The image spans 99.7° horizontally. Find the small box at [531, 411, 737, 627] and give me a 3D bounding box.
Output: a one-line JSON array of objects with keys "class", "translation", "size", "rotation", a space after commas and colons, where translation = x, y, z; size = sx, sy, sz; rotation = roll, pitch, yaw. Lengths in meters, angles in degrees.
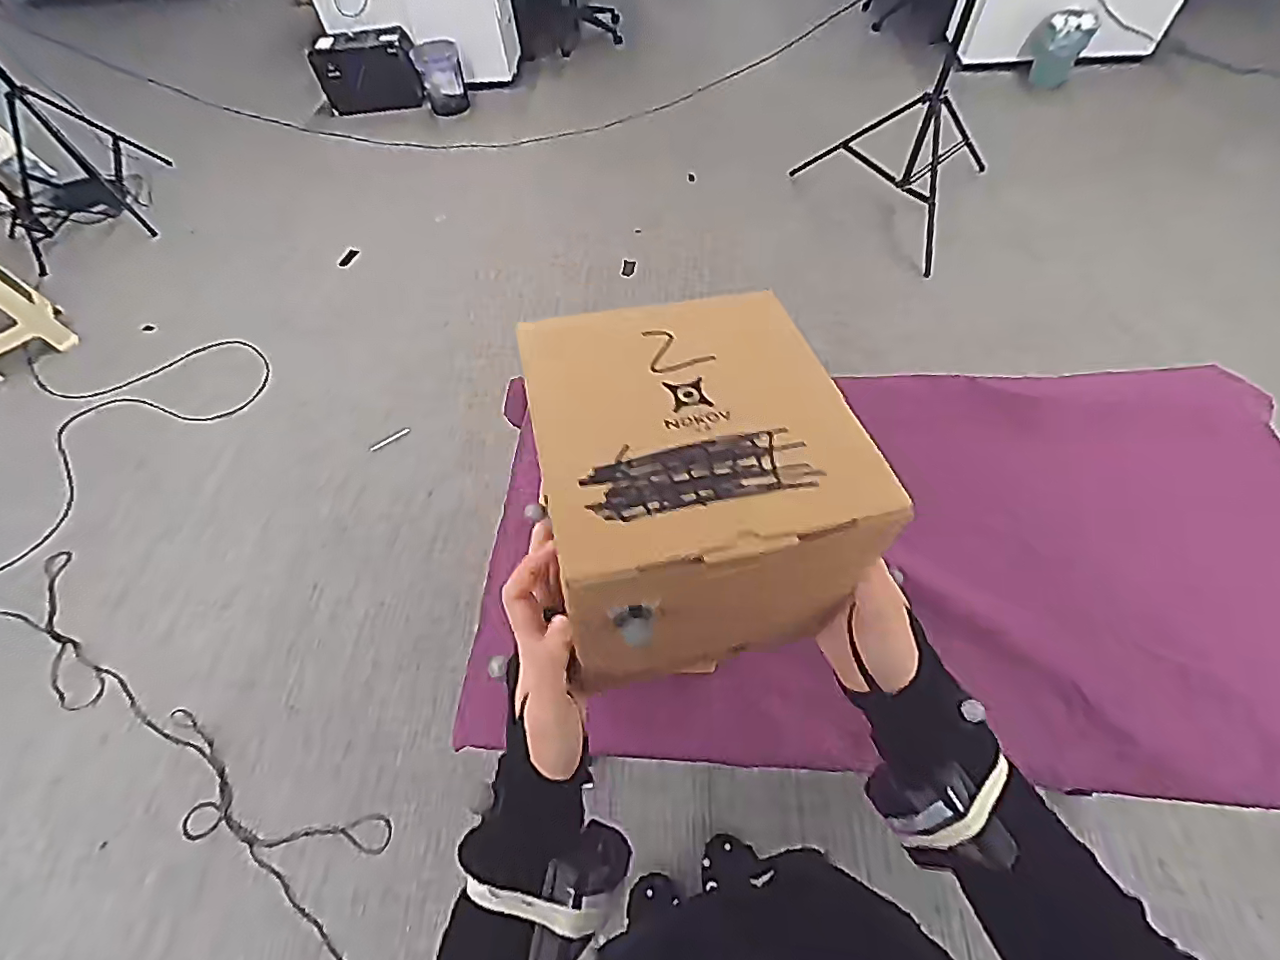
[{"class": "small box", "translation": [-0.001, 0.046, 0.562], "size": [0.179, 0.176, 0.168], "rotation": [-2, 55, 3]}]

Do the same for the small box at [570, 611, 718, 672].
[{"class": "small box", "translation": [0.009, 0.136, 0.697], "size": [0.168, 0.176, 0.179], "rotation": [-1, 57, 3]}]
